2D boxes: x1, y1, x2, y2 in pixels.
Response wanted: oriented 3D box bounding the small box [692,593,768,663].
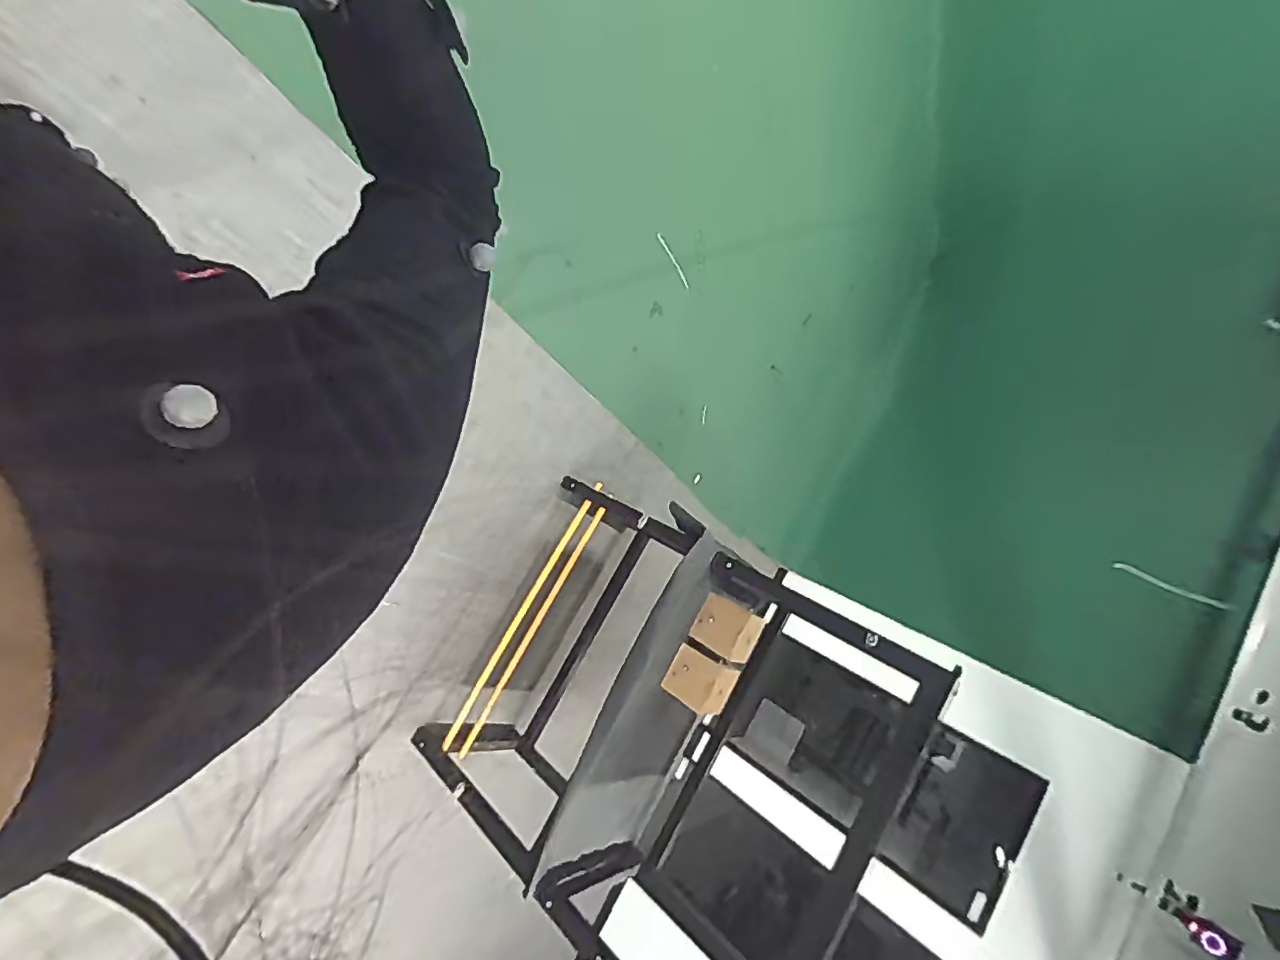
[{"bbox_3d":[0.306,0.504,1.842,0.179,0.176,0.168,35,82,-54],"label":"small box"}]
